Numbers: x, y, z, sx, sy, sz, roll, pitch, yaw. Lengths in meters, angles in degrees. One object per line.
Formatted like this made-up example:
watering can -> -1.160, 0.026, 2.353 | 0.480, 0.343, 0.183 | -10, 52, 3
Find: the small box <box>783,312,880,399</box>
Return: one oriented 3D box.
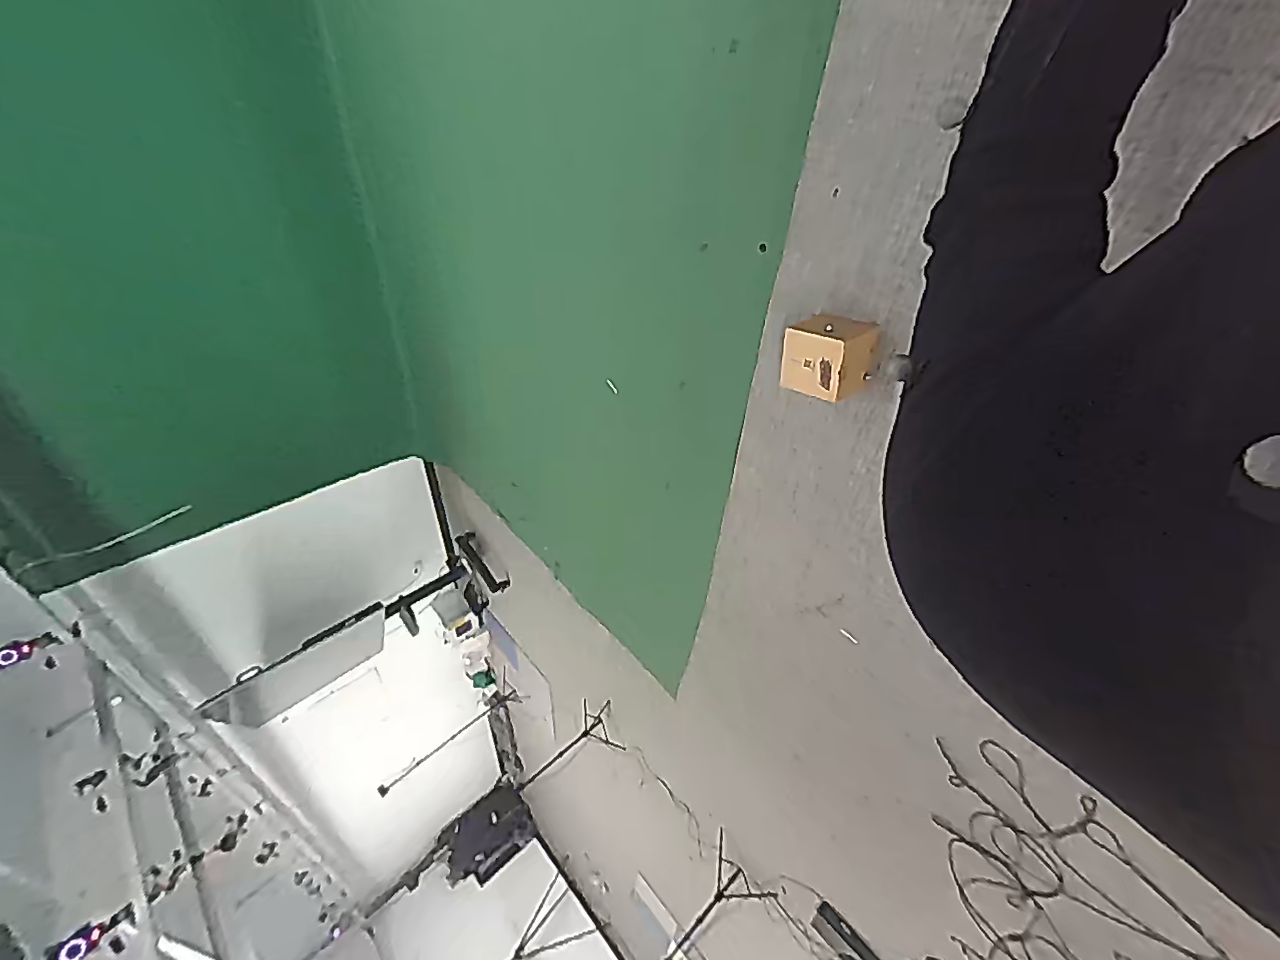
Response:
small box -> 0.509, -0.337, 1.439 | 0.179, 0.176, 0.168 | 30, 135, 40
